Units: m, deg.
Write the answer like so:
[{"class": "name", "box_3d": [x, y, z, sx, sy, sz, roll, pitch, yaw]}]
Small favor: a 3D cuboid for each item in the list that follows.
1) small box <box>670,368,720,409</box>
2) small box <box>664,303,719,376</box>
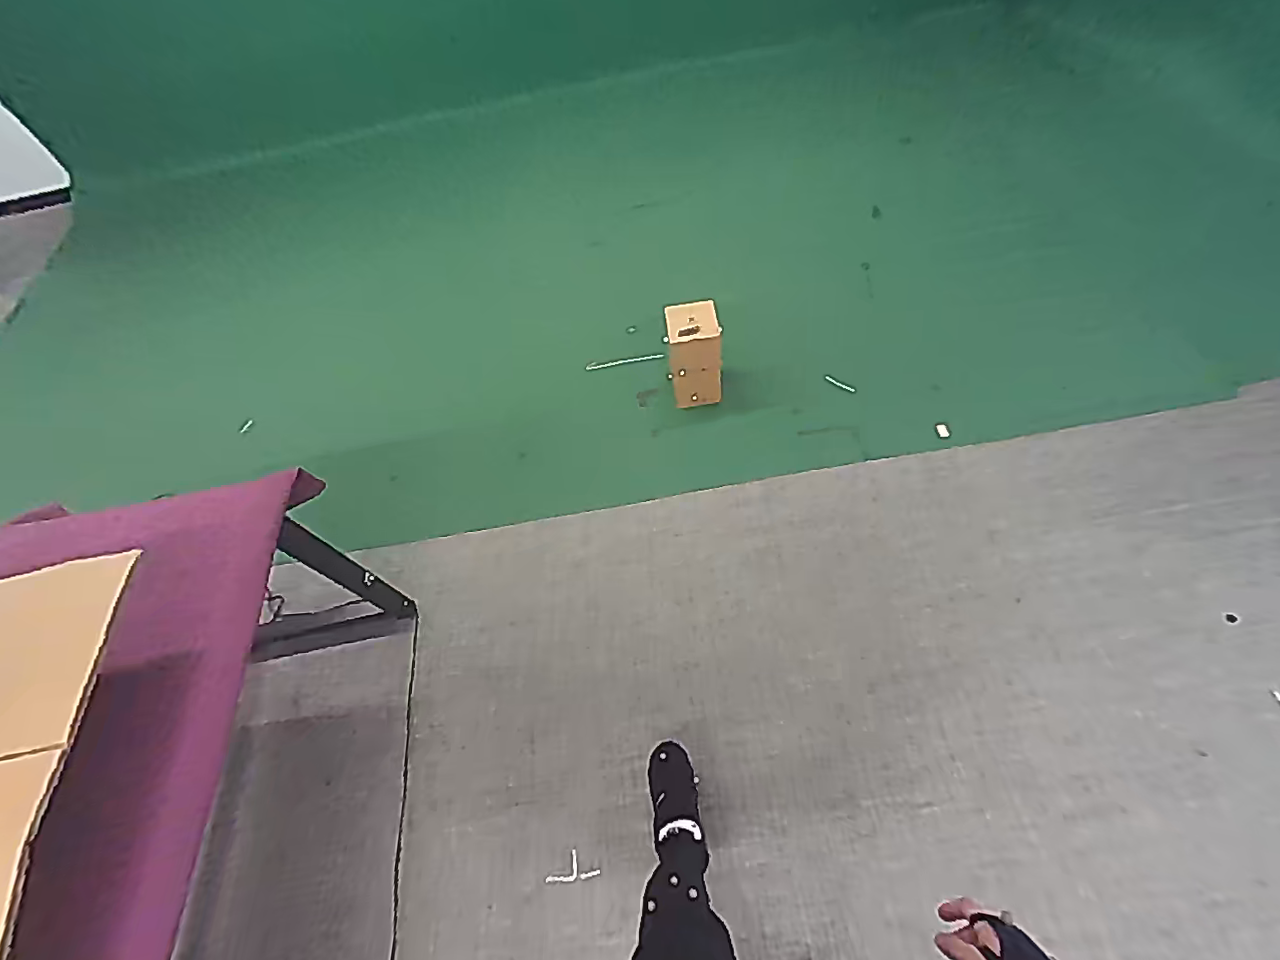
[{"class": "small box", "box_3d": [0.198, -0.385, 1.980, 0.168, 0.176, 0.179, -9, 58, 3]}, {"class": "small box", "box_3d": [0.177, -0.471, 1.842, 0.168, 0.176, 0.179, -7, 57, 3]}]
